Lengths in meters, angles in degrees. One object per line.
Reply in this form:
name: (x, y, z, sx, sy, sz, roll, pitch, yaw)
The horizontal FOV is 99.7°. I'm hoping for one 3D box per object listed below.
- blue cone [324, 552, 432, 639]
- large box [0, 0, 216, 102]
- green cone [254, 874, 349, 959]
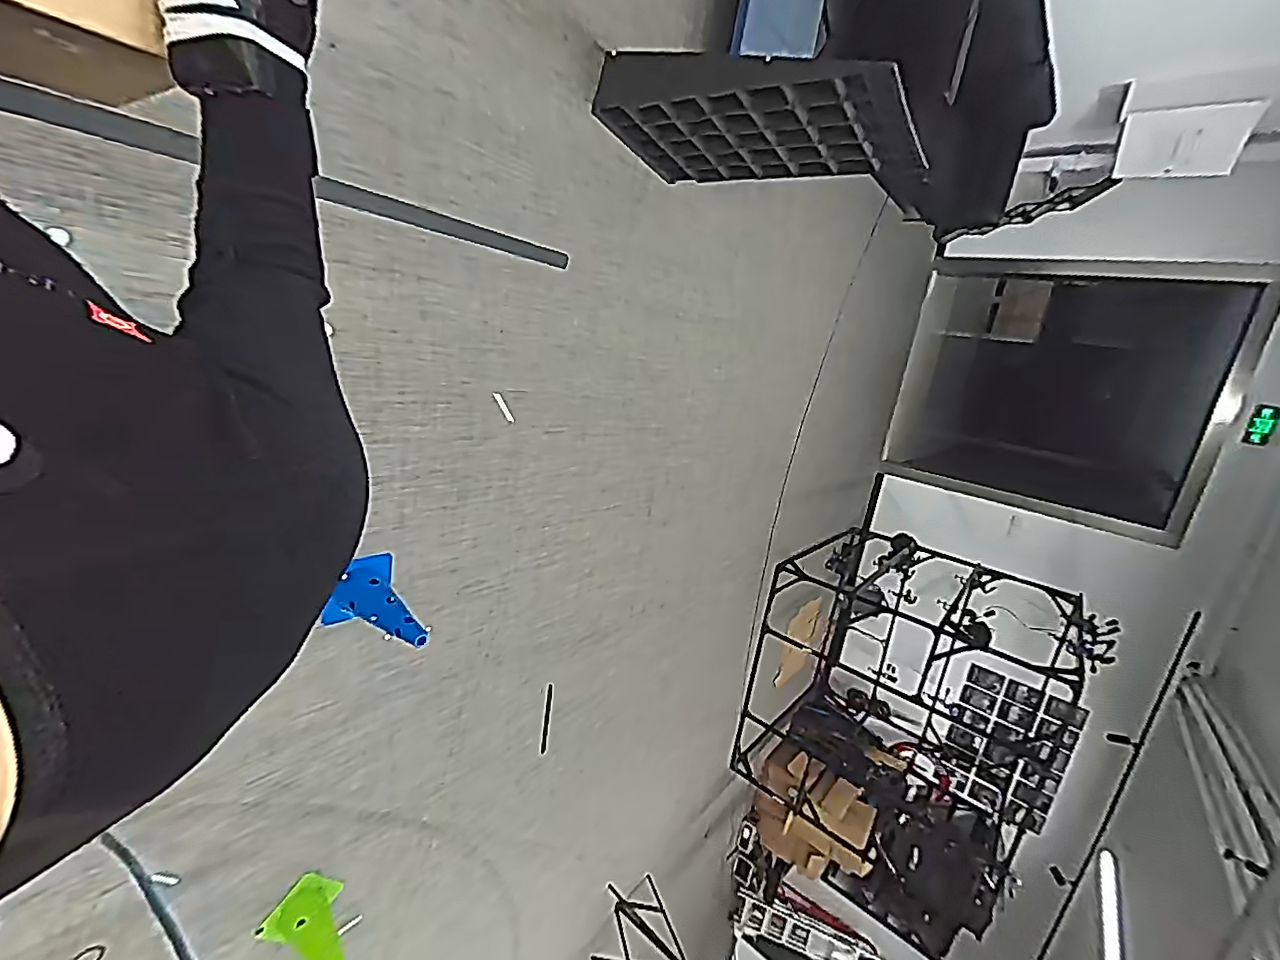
blue cone: (-0.724, 0.361, 1.539, 0.192, 0.380, 0.193, -4, 109, -54)
large box: (-0.518, -0.453, 0.272, 0.408, 0.320, 0.320, -12, 118, -52)
green cone: (-0.983, 1.455, 1.675, 0.202, 0.368, 0.200, -50, 141, -29)
